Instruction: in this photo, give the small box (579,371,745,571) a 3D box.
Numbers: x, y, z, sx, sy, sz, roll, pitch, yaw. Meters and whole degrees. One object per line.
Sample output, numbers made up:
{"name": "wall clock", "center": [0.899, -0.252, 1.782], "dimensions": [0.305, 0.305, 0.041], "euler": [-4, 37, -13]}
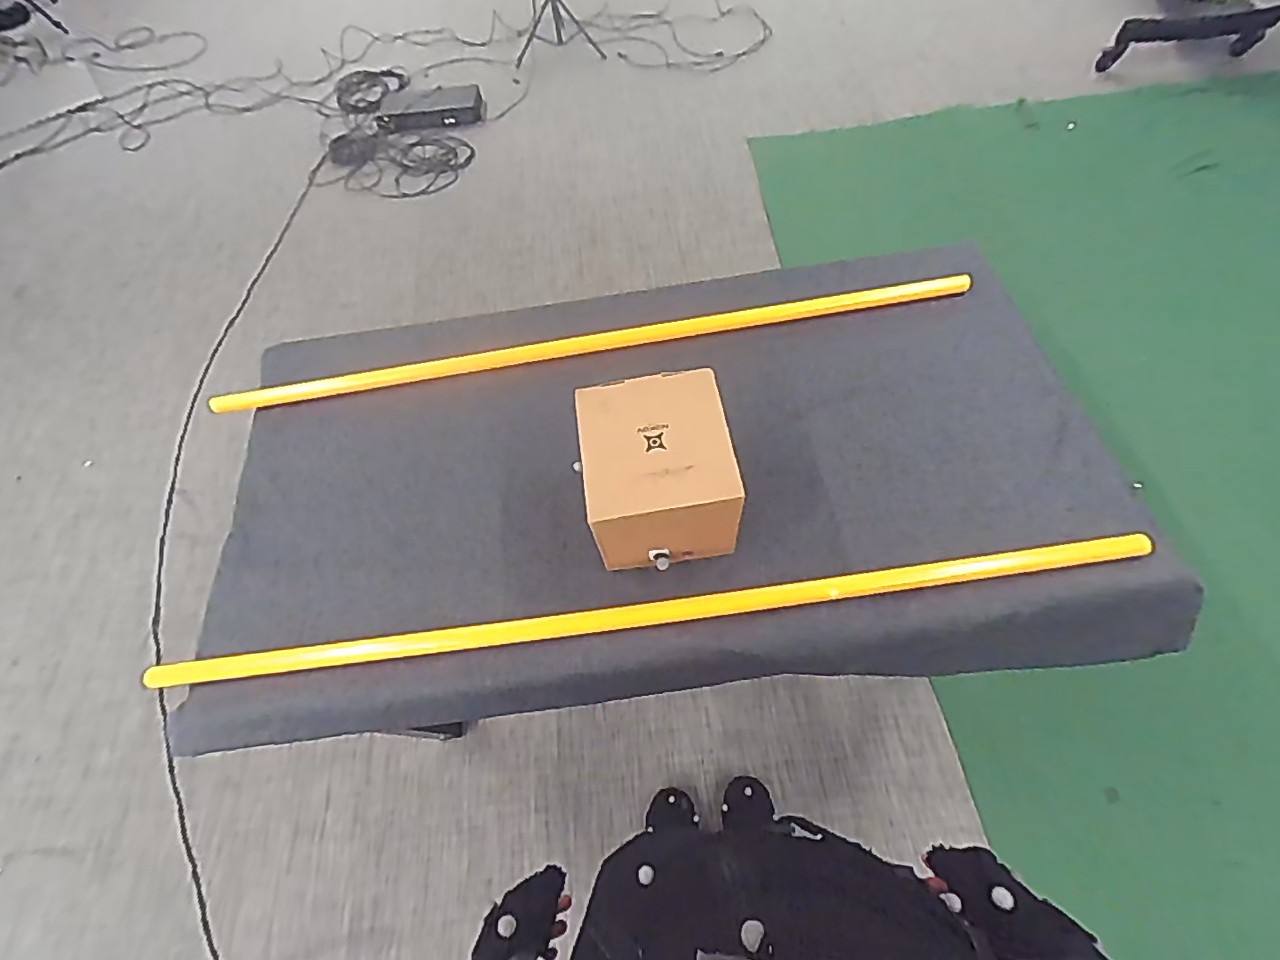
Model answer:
{"name": "small box", "center": [0.025, -0.005, 0.670], "dimensions": [0.168, 0.176, 0.179], "euler": [-10, 62, 1]}
